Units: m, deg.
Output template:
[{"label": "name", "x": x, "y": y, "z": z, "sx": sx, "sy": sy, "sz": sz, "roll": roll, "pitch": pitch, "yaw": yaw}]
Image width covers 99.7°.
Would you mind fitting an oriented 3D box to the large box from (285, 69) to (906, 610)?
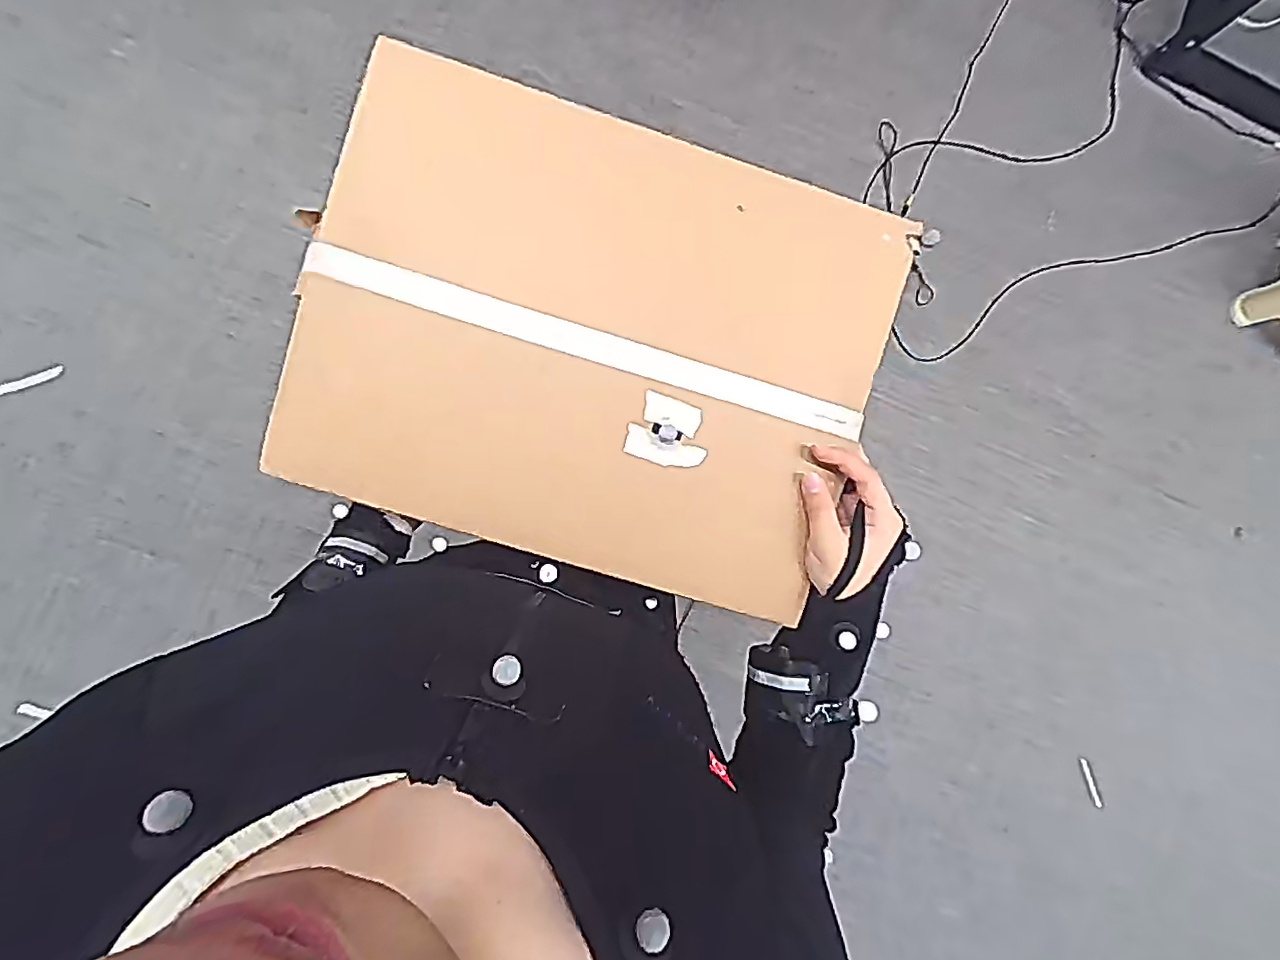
[{"label": "large box", "x": -0.038, "y": -0.101, "z": 0.545, "sx": 0.408, "sy": 0.320, "sz": 0.320, "roll": 16, "pitch": 93, "yaw": -5}]
